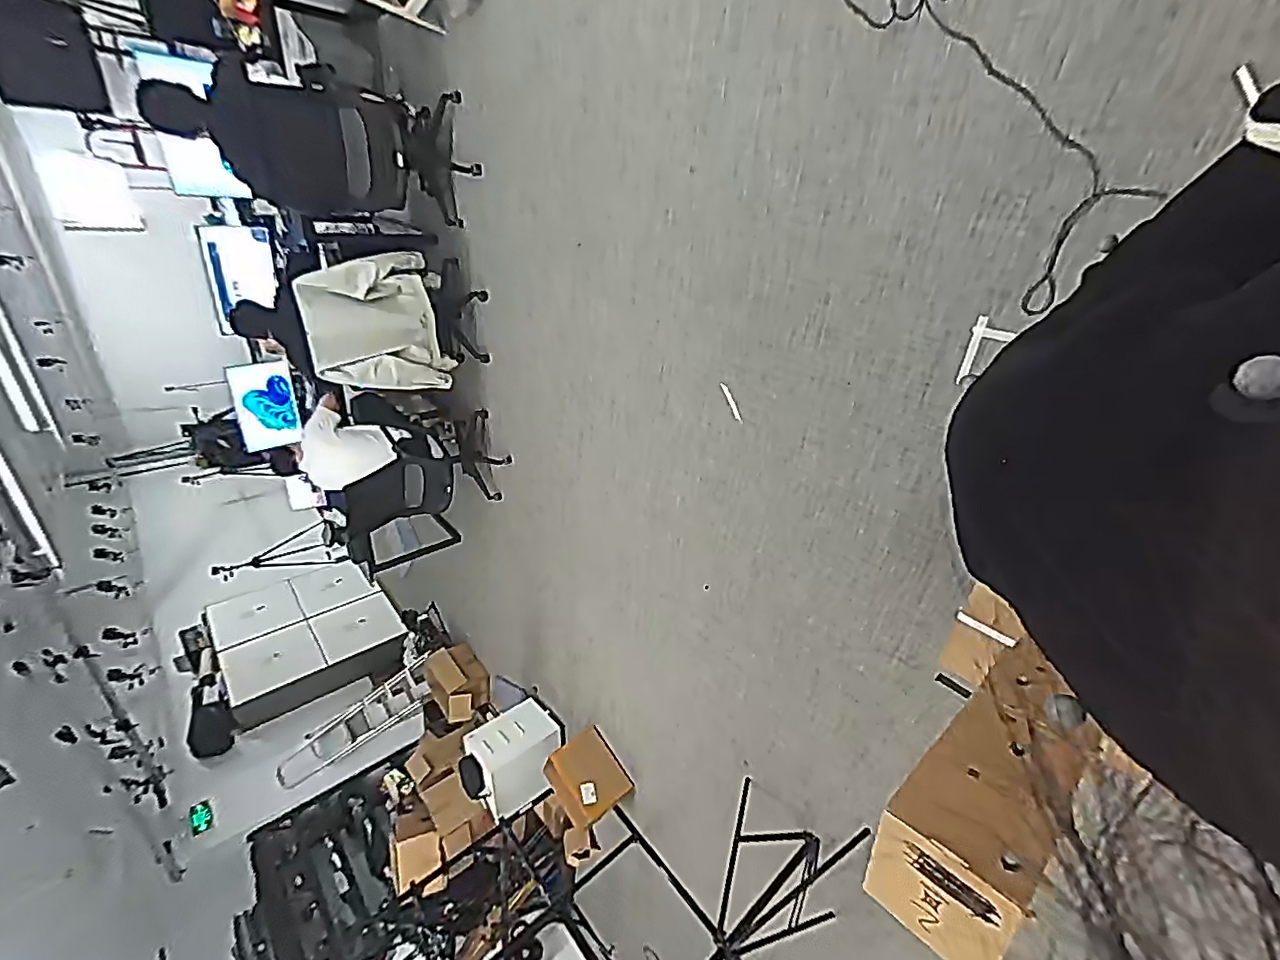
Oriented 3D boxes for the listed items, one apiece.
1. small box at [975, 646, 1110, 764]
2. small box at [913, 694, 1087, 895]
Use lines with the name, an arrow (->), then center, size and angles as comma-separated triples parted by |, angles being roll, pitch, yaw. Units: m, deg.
small box -> 0.685, 0.429, 0.951 | 0.168, 0.176, 0.179 | 30, 128, 42
small box -> 0.564, 0.477, 0.849 | 0.168, 0.176, 0.179 | 26, 124, 44
